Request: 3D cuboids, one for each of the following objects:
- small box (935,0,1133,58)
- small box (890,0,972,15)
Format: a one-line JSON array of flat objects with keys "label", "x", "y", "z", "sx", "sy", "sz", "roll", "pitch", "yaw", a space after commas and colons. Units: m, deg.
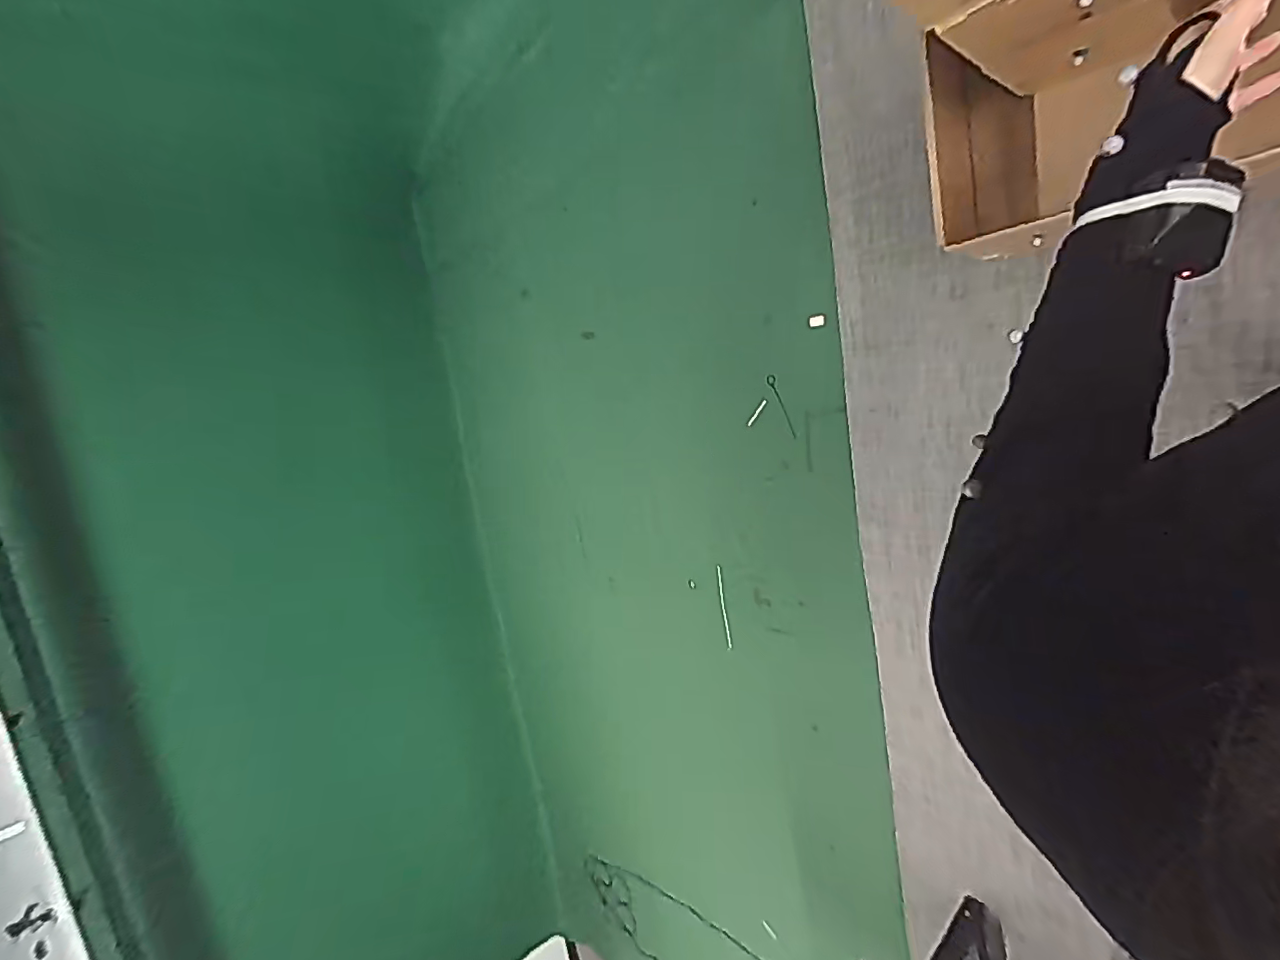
[{"label": "small box", "x": 0.430, "y": -0.591, "z": 0.574, "sx": 0.168, "sy": 0.176, "sz": 0.179, "roll": 4, "pitch": 105, "yaw": 49}, {"label": "small box", "x": 0.302, "y": -0.560, "z": 0.476, "sx": 0.168, "sy": 0.176, "sz": 0.179, "roll": 6, "pitch": 108, "yaw": 48}]
